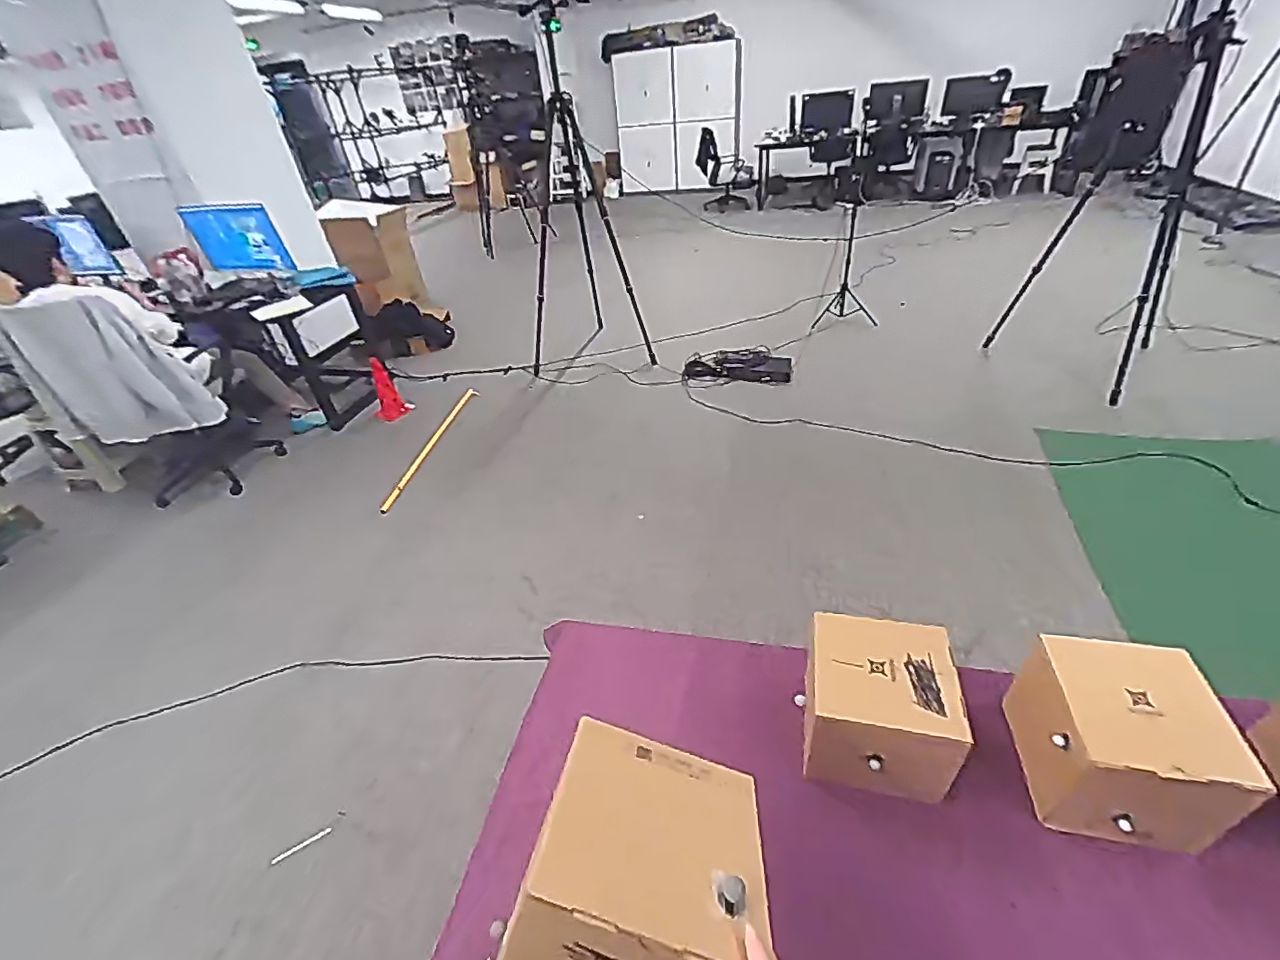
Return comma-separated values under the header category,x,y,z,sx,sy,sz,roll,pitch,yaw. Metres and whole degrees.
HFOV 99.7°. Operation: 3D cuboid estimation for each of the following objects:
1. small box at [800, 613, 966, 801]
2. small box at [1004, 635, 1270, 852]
category,x,y,z,sx,sy,sz,roll,pitch,yaw
small box,0.320,0.313,0.748,0.179,0.176,0.168,3,37,16
small box,0.594,0.328,0.684,0.168,0.176,0.179,3,39,14
